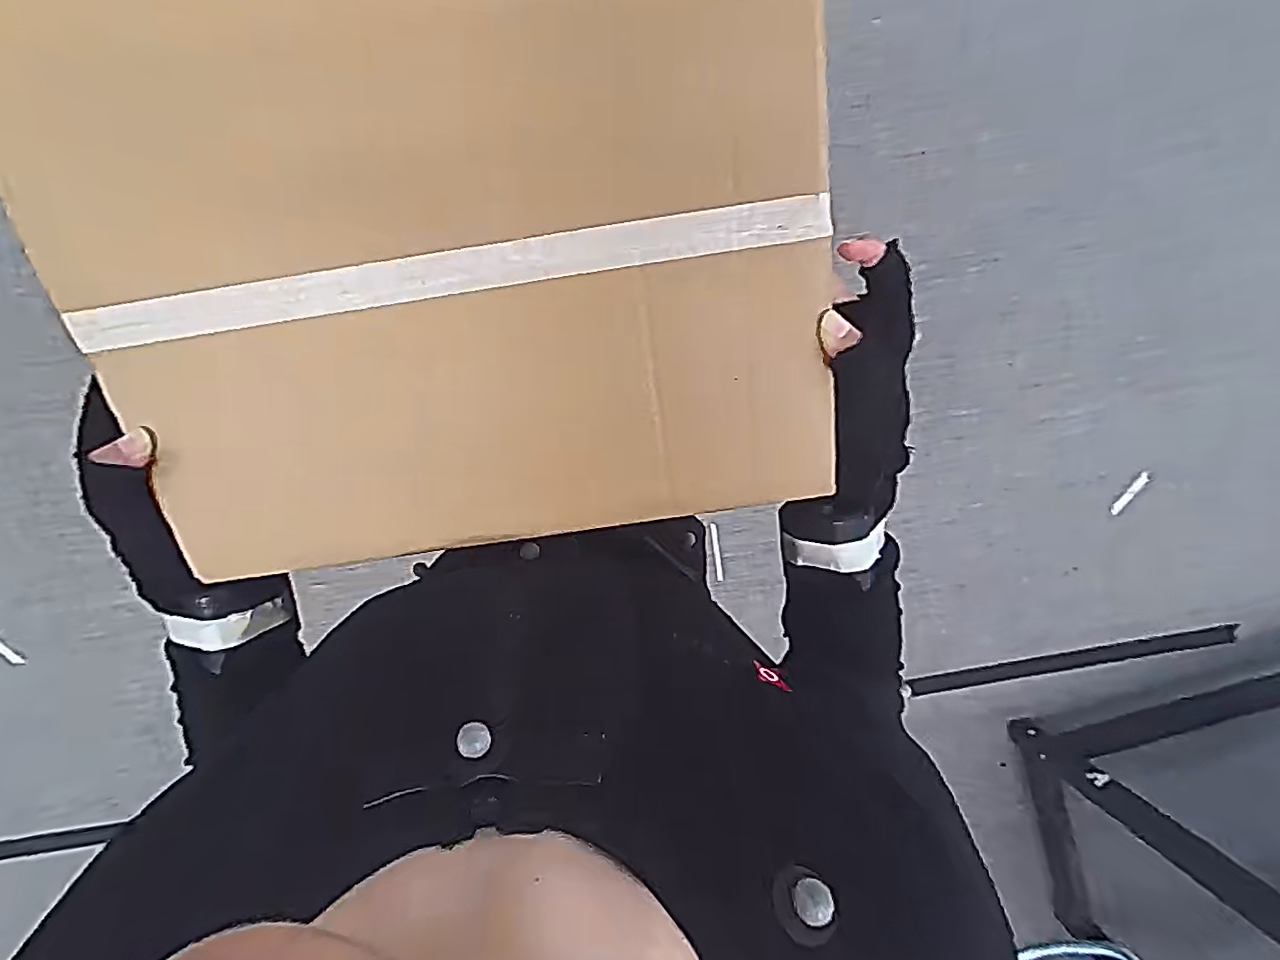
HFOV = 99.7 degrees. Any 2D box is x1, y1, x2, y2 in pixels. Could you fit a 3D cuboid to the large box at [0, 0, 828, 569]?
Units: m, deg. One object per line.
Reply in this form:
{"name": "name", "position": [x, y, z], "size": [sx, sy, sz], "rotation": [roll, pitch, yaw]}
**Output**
{"name": "large box", "position": [-0.104, -0.161, 0.436], "size": [0.408, 0.320, 0.320], "rotation": [-8, 111, 1]}
